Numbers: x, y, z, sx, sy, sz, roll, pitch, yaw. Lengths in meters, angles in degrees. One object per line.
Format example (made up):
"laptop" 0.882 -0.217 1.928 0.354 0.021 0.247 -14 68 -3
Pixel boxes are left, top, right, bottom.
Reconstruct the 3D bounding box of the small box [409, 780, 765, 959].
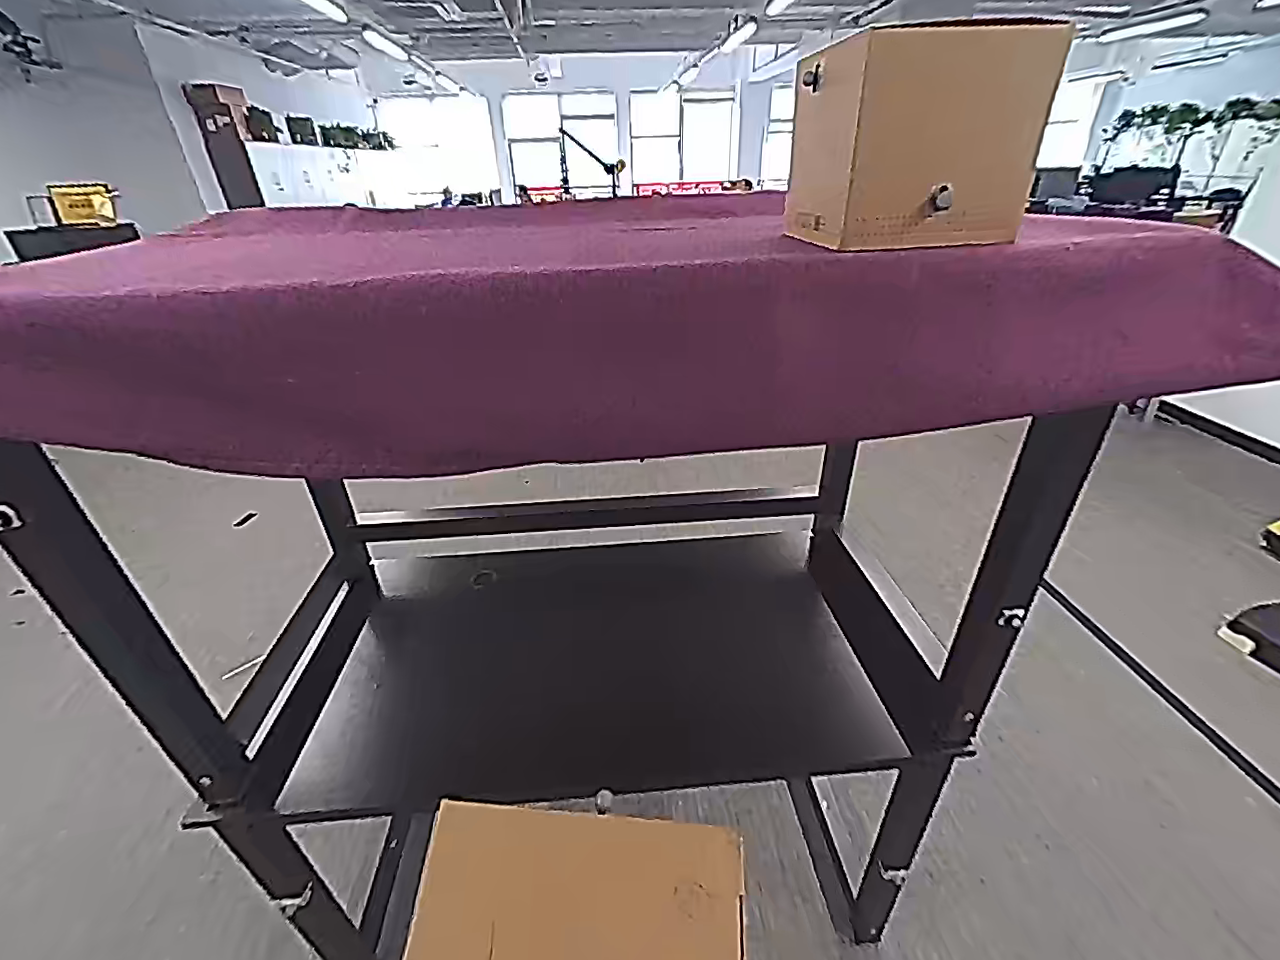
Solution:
"small box" -0.028 0.288 0.325 0.179 0.176 0.168 4 56 3

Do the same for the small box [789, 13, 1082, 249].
"small box" 0.263 -0.330 0.532 0.179 0.176 0.168 -4 29 -4
